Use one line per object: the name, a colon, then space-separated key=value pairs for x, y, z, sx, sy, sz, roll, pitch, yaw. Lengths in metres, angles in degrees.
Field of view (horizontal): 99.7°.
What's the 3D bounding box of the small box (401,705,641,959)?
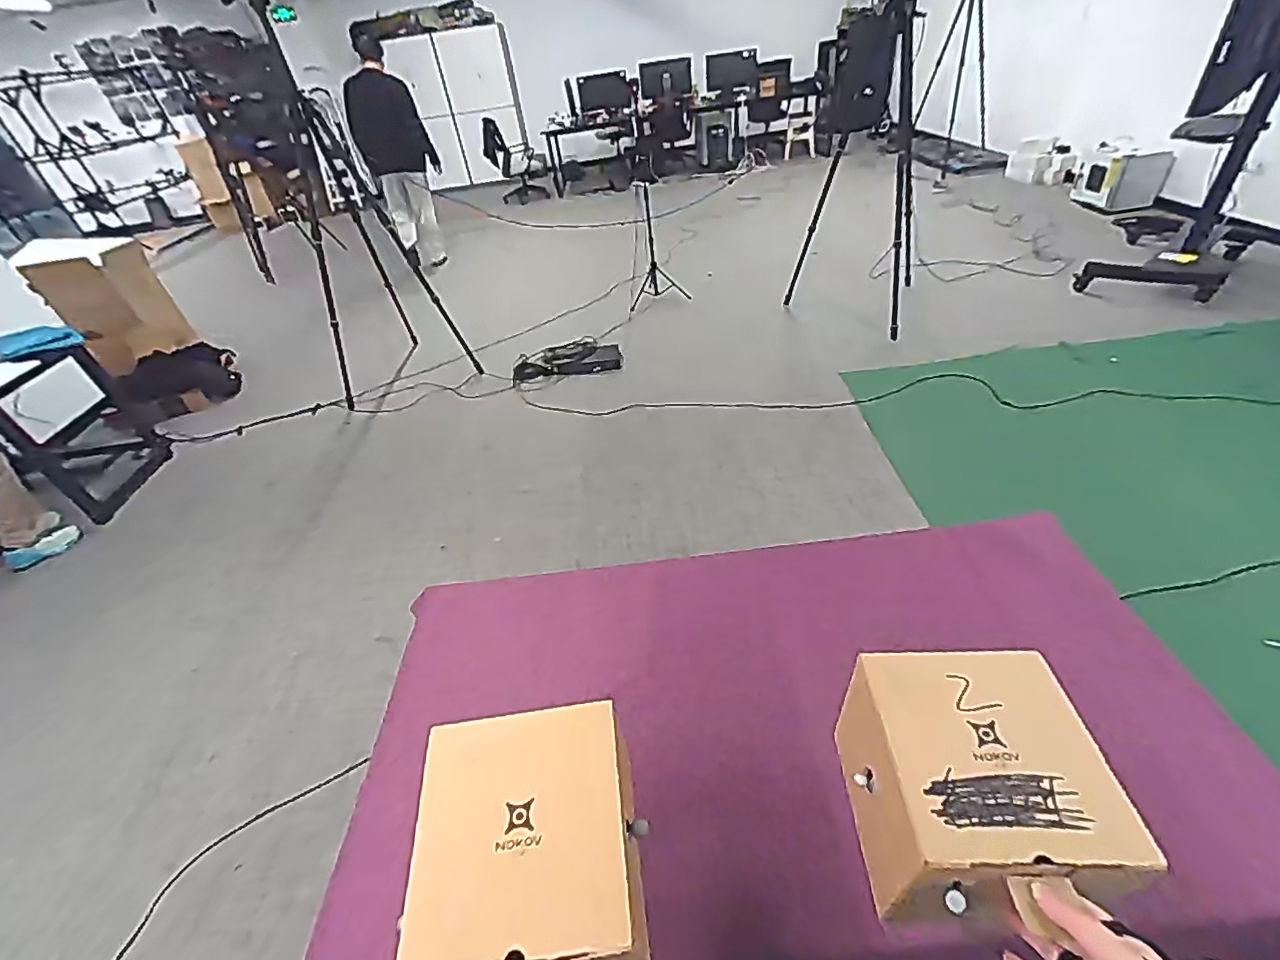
small box: x=-0.093 y=0.336 z=0.497 sx=0.168 sy=0.176 sz=0.179 roll=-8 pitch=46 yaw=-2
